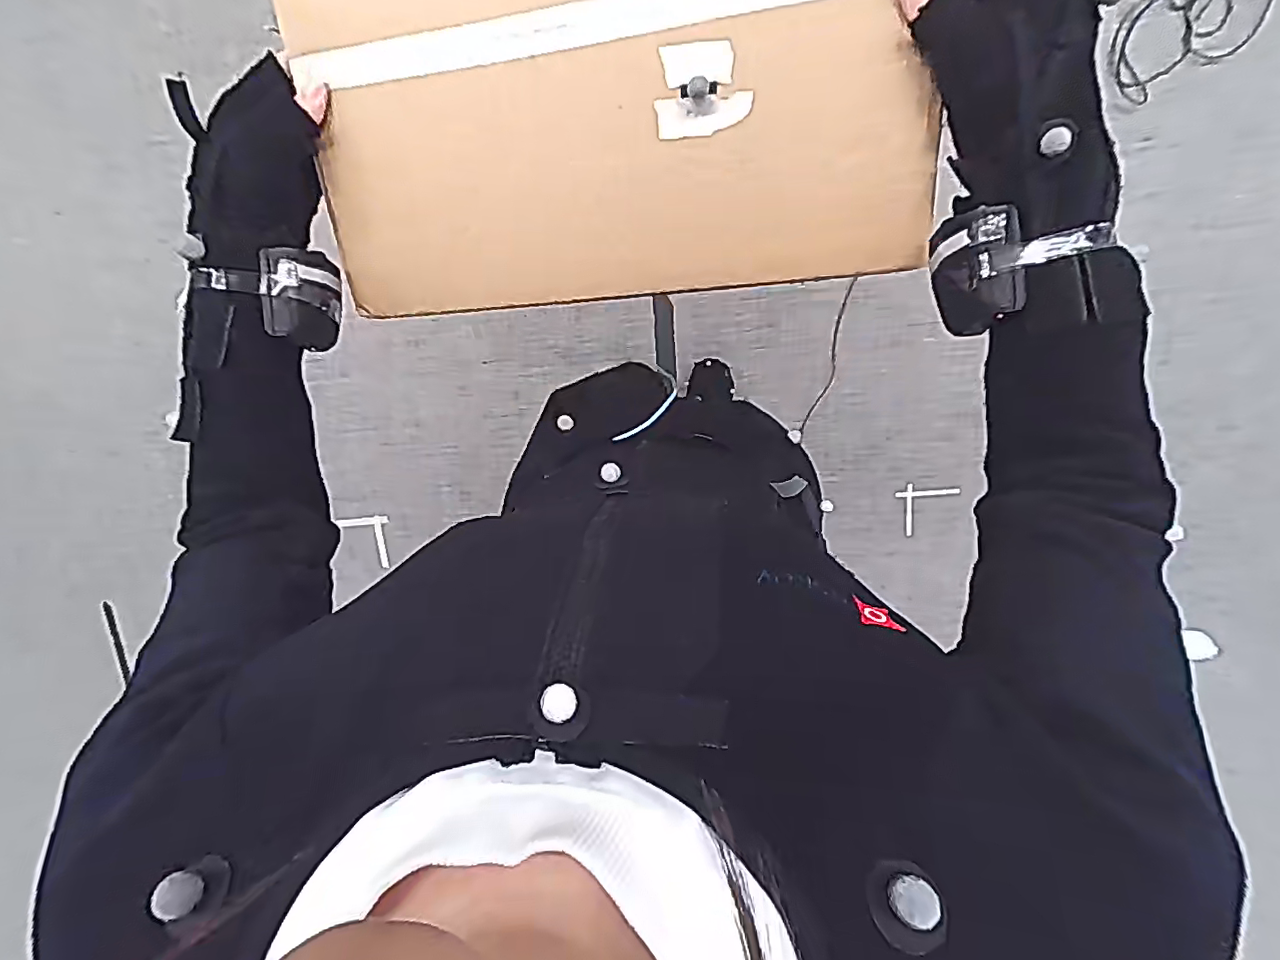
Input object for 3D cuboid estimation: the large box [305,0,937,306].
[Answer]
[{"bbox_3d":[-0.004,-0.341,0.475,0.408,0.320,0.320,-2,111,11],"label":"large box"}]
